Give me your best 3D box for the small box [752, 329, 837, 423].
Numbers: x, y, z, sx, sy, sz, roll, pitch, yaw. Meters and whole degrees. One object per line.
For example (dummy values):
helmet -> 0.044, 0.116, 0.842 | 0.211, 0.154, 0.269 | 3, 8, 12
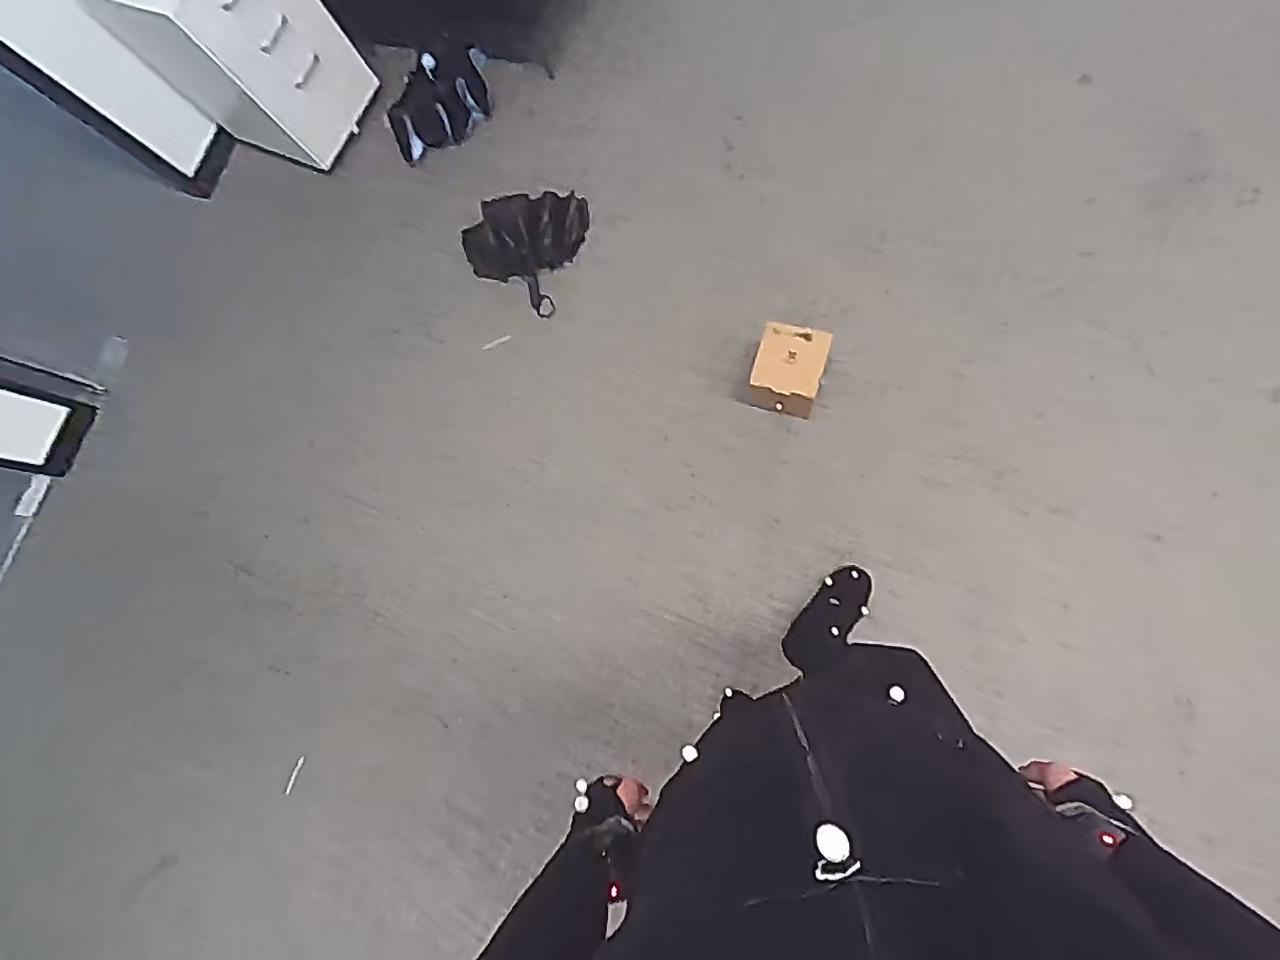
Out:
small box -> 0.400, -0.263, 1.404 | 0.168, 0.176, 0.179 | 17, 82, 17
